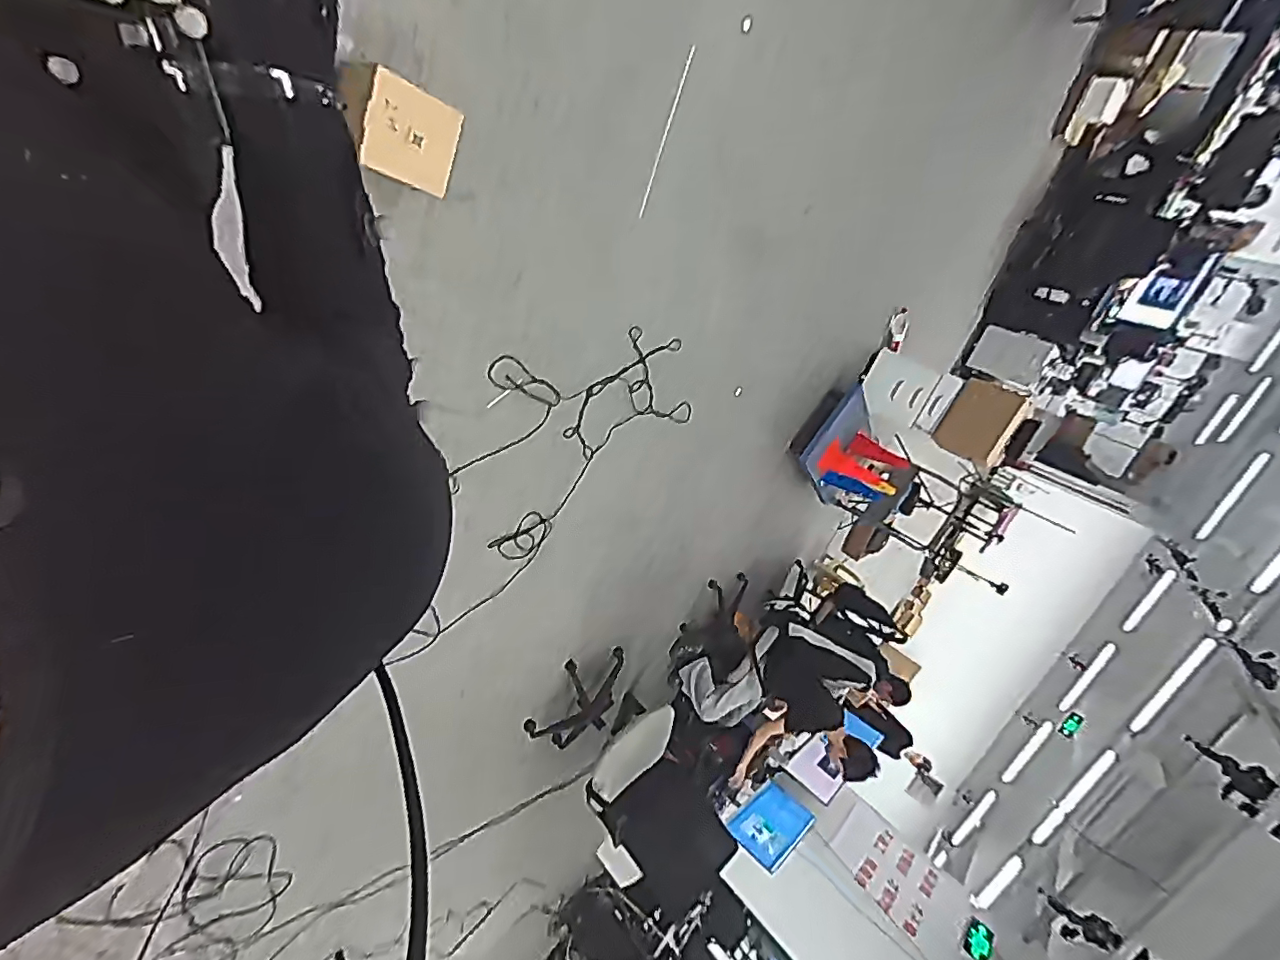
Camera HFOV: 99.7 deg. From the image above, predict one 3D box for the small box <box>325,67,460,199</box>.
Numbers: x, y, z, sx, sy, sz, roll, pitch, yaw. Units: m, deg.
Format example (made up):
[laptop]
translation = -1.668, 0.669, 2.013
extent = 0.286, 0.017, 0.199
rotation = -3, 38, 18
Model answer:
[small box]
translation = -0.496, -0.695, 1.082
extent = 0.179, 0.176, 0.168
rotation = 0, 117, -50
